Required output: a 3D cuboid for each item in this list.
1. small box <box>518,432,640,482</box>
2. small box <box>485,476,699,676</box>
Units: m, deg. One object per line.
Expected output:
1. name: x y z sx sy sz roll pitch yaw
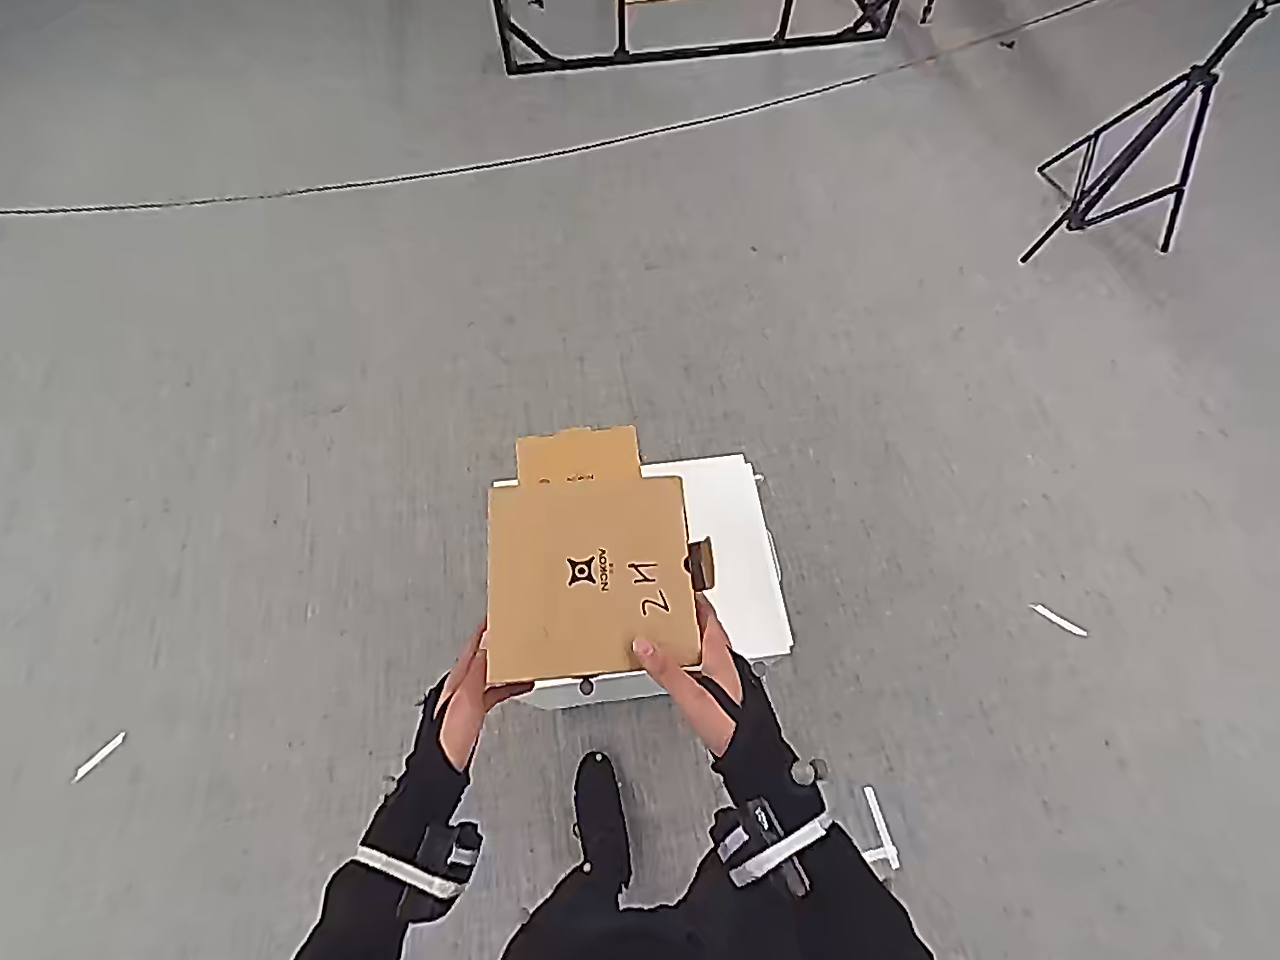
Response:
1. small box: -0.077 0.054 0.788 0.168 0.176 0.179 -7 63 -4
2. small box: -0.046 0.103 0.537 0.179 0.176 0.168 -3 71 -5
